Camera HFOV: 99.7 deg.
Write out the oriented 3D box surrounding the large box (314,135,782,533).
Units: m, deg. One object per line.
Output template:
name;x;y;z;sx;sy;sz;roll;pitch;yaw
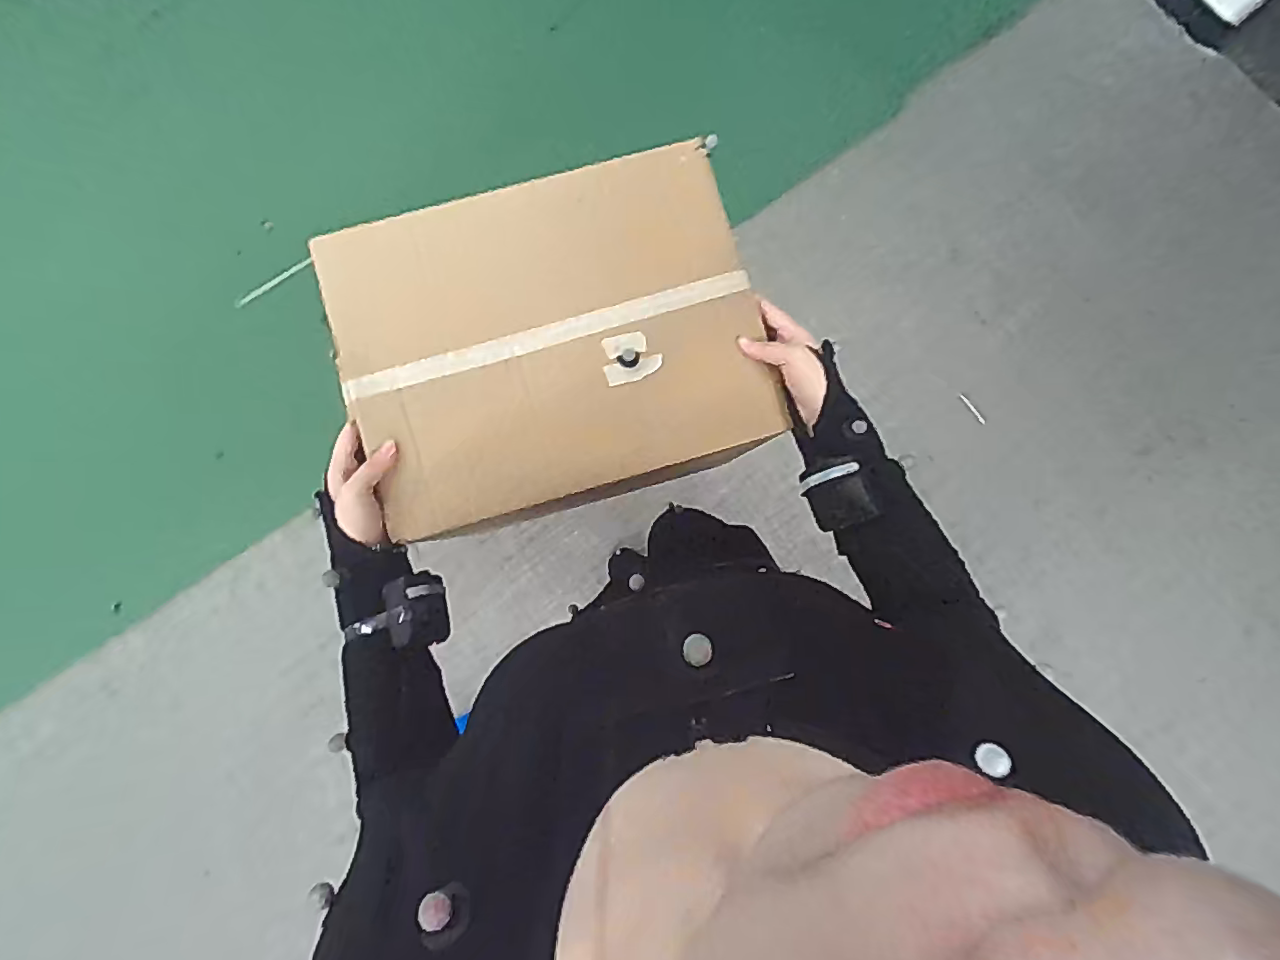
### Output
large box;-0.097;-0.140;0.683;0.408;0.320;0.320;-17;88;-4
